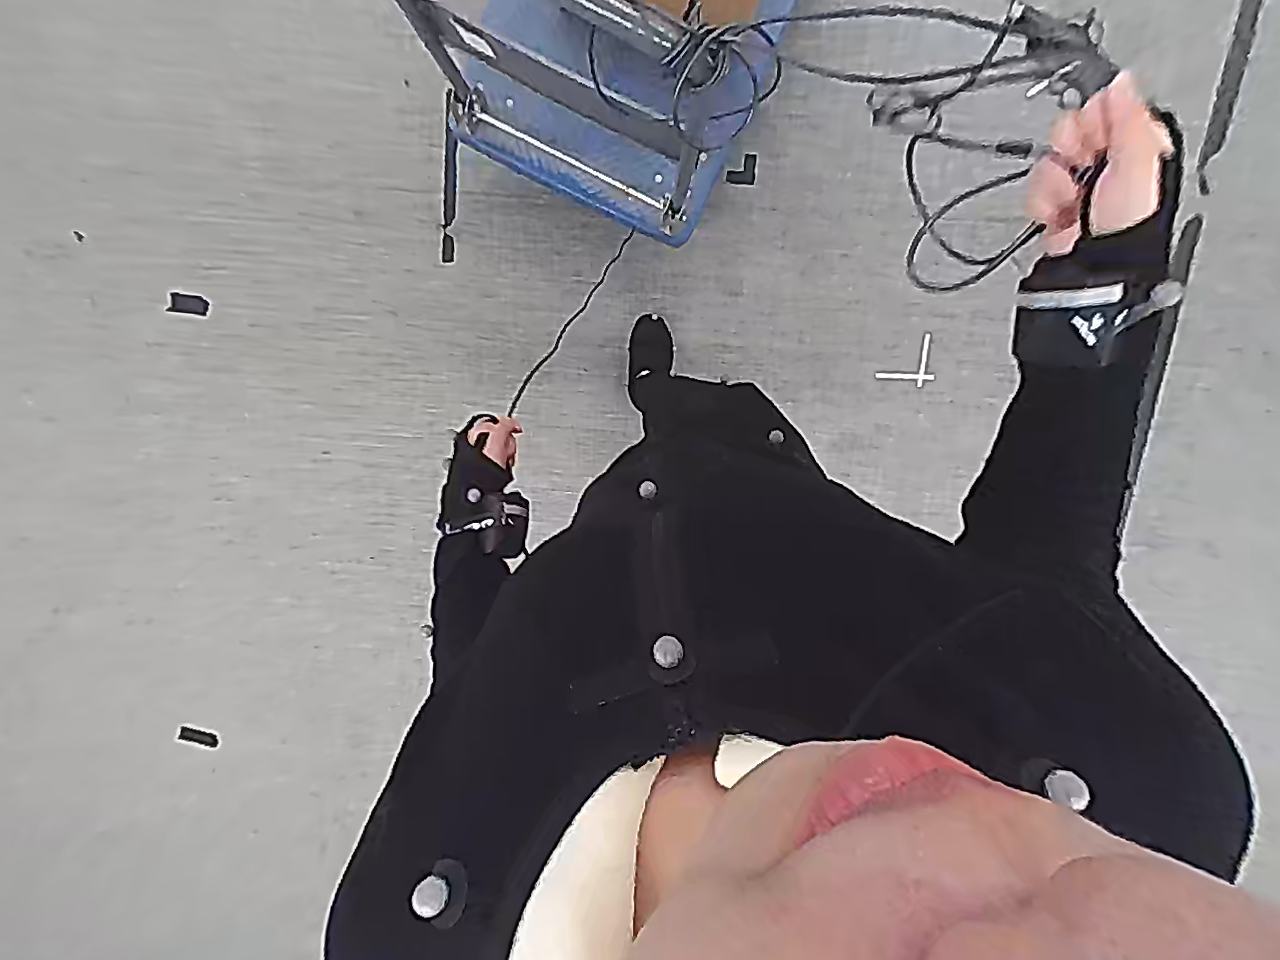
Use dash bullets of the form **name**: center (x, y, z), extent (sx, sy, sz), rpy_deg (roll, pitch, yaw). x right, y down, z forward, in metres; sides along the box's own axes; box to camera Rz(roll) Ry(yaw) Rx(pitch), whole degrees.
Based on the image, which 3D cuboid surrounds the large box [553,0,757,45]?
- **large box**: center (0.043, -1.050, 0.944), extent (0.408, 0.320, 0.320), rpy_deg (11, 102, -2)
